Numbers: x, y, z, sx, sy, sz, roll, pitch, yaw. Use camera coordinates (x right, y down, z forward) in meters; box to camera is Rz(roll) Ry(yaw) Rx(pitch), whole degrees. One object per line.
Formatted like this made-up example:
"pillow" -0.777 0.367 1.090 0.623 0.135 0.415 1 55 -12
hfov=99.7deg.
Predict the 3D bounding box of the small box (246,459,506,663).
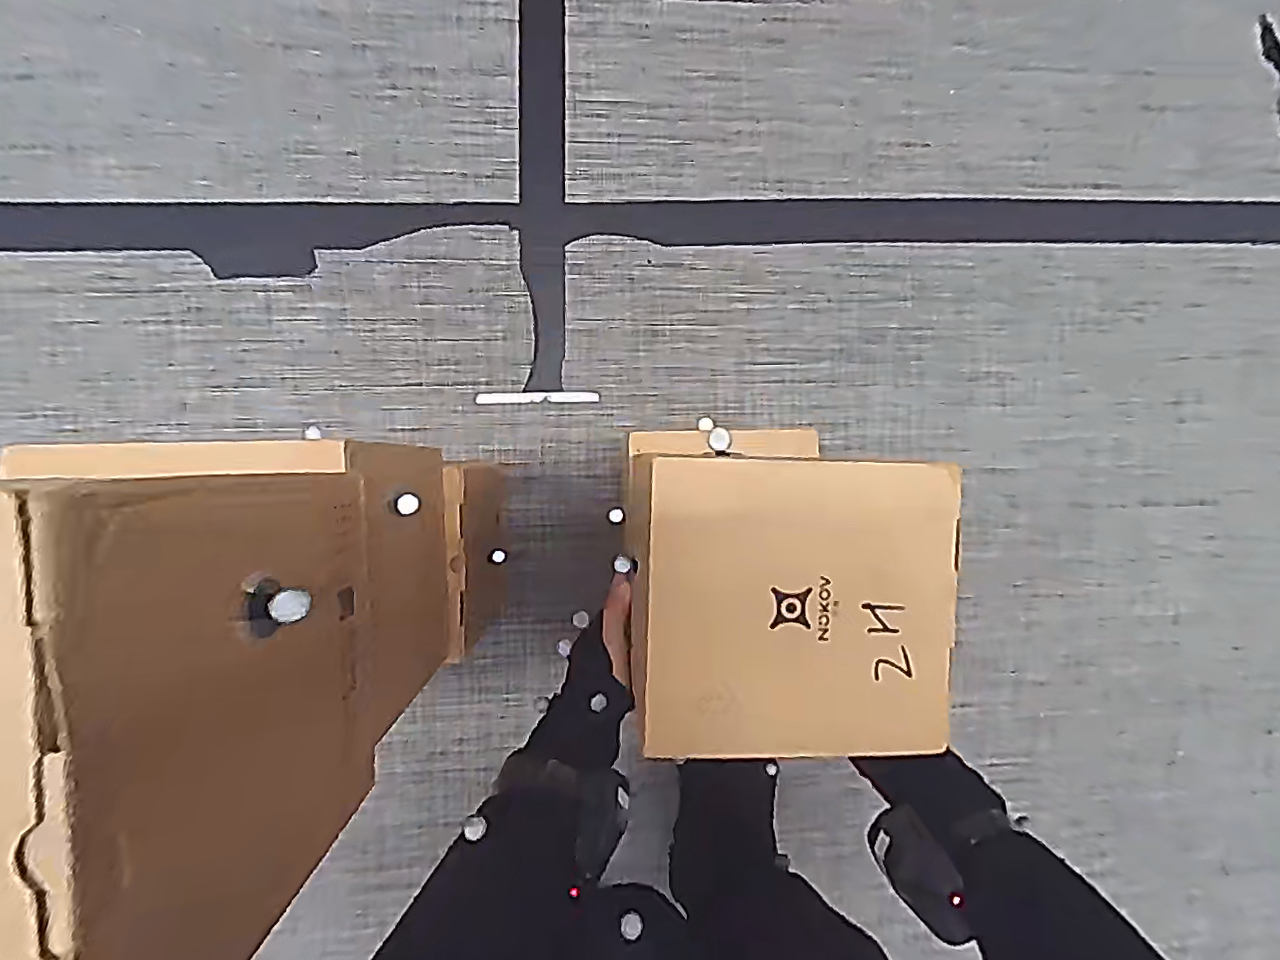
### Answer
"small box" -0.233 0.064 0.517 0.179 0.176 0.168 0 93 -4

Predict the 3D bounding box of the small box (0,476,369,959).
"small box" -0.213 0.083 0.190 0.179 0.176 0.168 -2 91 -4

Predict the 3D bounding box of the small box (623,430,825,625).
"small box" 0.070 0.040 0.536 0.168 0.176 0.179 -1 92 -5

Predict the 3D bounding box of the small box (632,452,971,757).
"small box" 0.087 0.066 0.374 0.179 0.176 0.168 1 94 -5
